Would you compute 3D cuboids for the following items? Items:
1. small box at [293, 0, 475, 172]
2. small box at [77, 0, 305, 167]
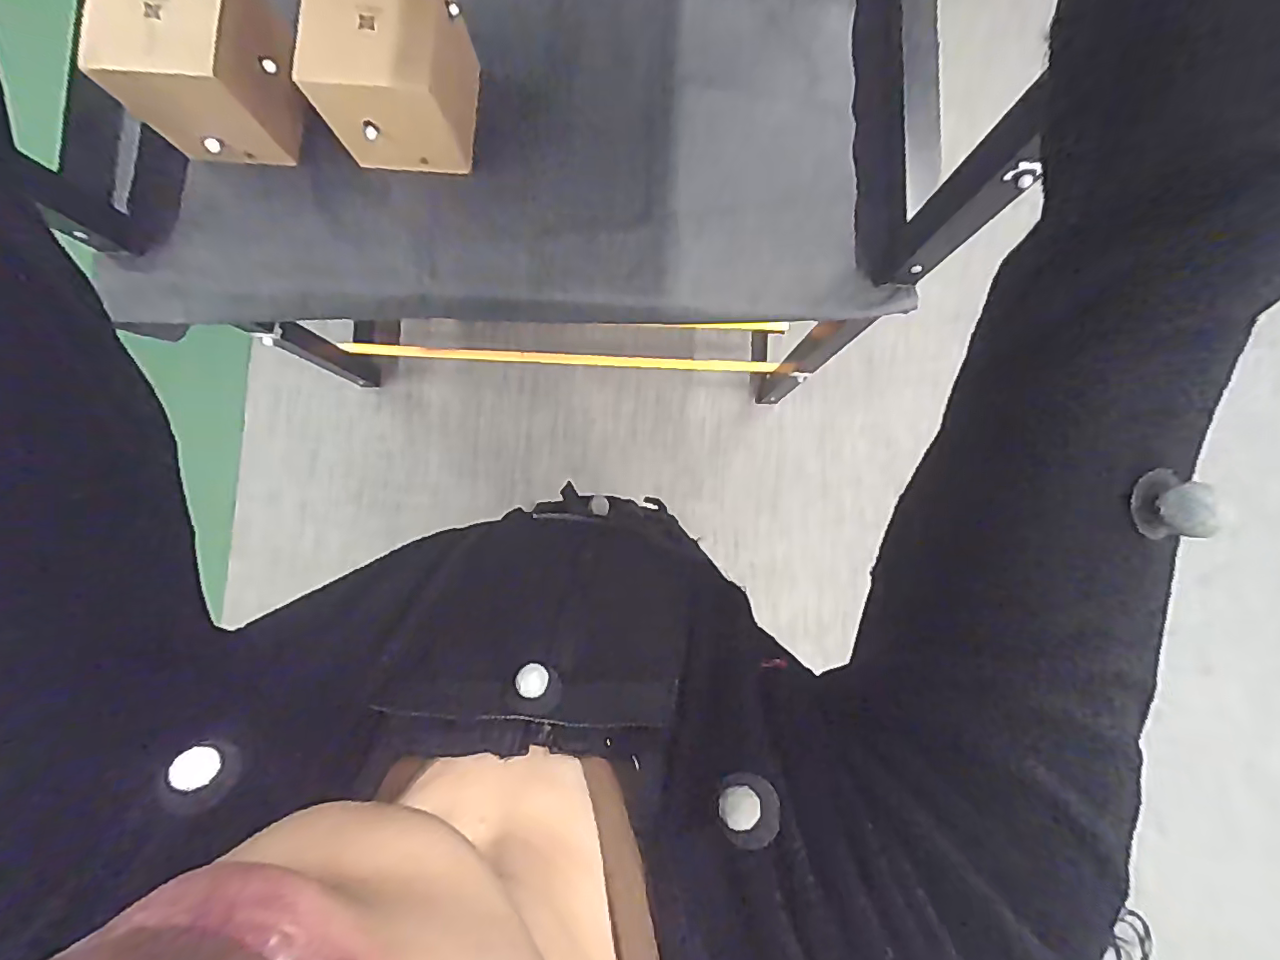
[{"bbox_3d":[-0.333,-0.553,0.736,0.168,0.176,0.179,3,85,-1],"label":"small box"},{"bbox_3d":[-0.585,-0.565,0.732,0.168,0.176,0.179,3,86,0],"label":"small box"}]
